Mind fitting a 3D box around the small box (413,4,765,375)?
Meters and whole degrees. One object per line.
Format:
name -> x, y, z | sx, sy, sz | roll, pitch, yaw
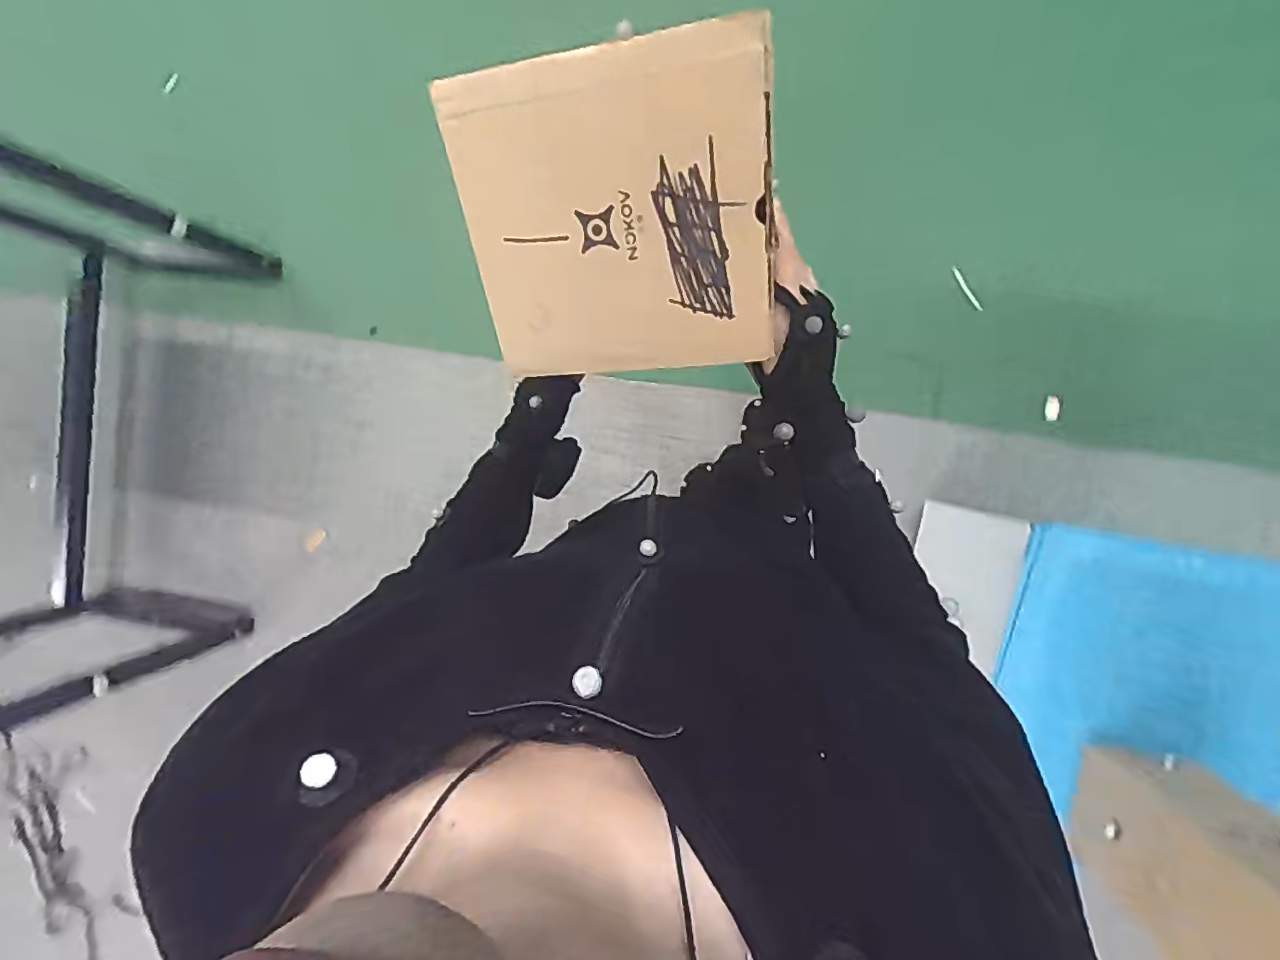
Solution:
small box -> -0.008, -0.182, 0.364 | 0.179, 0.176, 0.168 | -1, 120, 14
